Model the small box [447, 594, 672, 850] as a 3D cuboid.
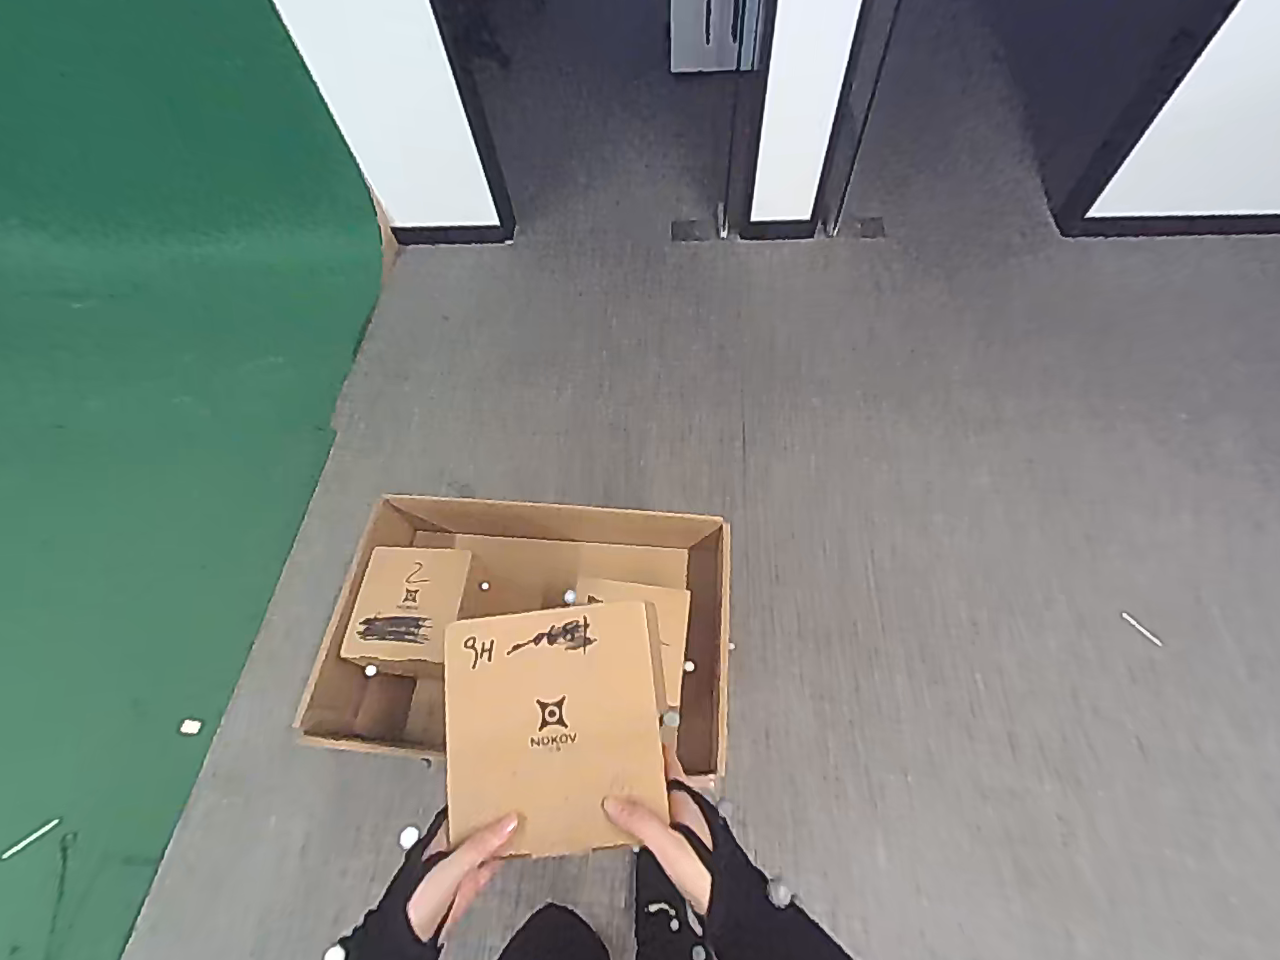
[{"bbox_3d":[-0.062,0.202,0.497,0.168,0.176,0.179,-8,76,2],"label":"small box"}]
